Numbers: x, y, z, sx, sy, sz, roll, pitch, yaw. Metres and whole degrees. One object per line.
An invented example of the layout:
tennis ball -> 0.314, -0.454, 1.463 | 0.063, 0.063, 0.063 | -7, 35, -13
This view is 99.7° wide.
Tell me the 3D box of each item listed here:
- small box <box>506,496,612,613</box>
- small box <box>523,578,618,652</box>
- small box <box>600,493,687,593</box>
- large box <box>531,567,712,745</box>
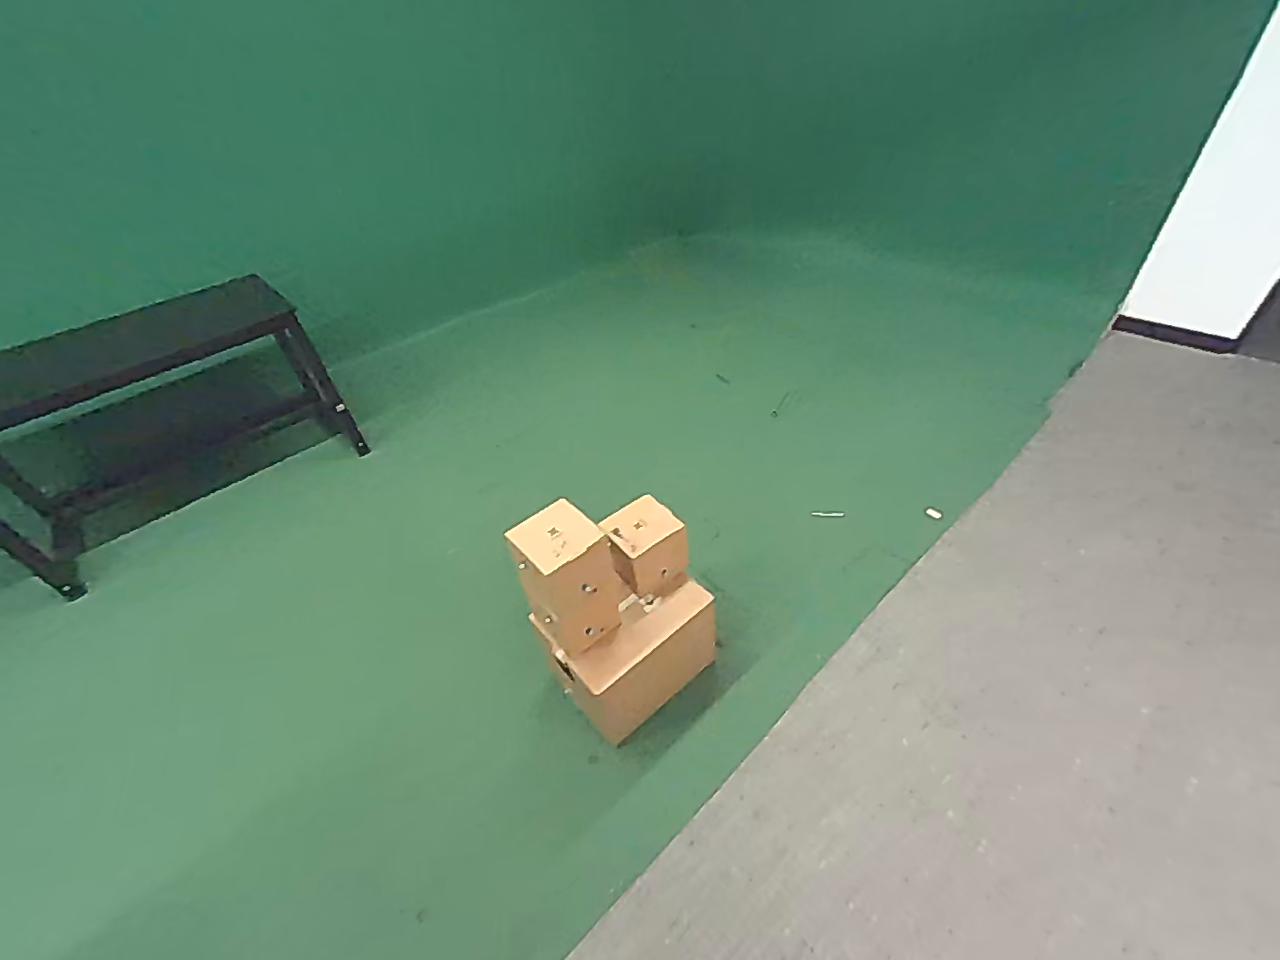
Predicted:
small box -> -0.184, 0.174, 1.257 | 0.168, 0.176, 0.179 | -33, 48, -27
small box -> -0.173, 0.297, 1.366 | 0.168, 0.176, 0.179 | -32, 47, -27
small box -> 0.012, 0.172, 1.476 | 0.179, 0.176, 0.168 | -29, 45, -22
large box -> -0.037, 0.449, 1.542 | 0.408, 0.320, 0.320 | -32, 48, -26
